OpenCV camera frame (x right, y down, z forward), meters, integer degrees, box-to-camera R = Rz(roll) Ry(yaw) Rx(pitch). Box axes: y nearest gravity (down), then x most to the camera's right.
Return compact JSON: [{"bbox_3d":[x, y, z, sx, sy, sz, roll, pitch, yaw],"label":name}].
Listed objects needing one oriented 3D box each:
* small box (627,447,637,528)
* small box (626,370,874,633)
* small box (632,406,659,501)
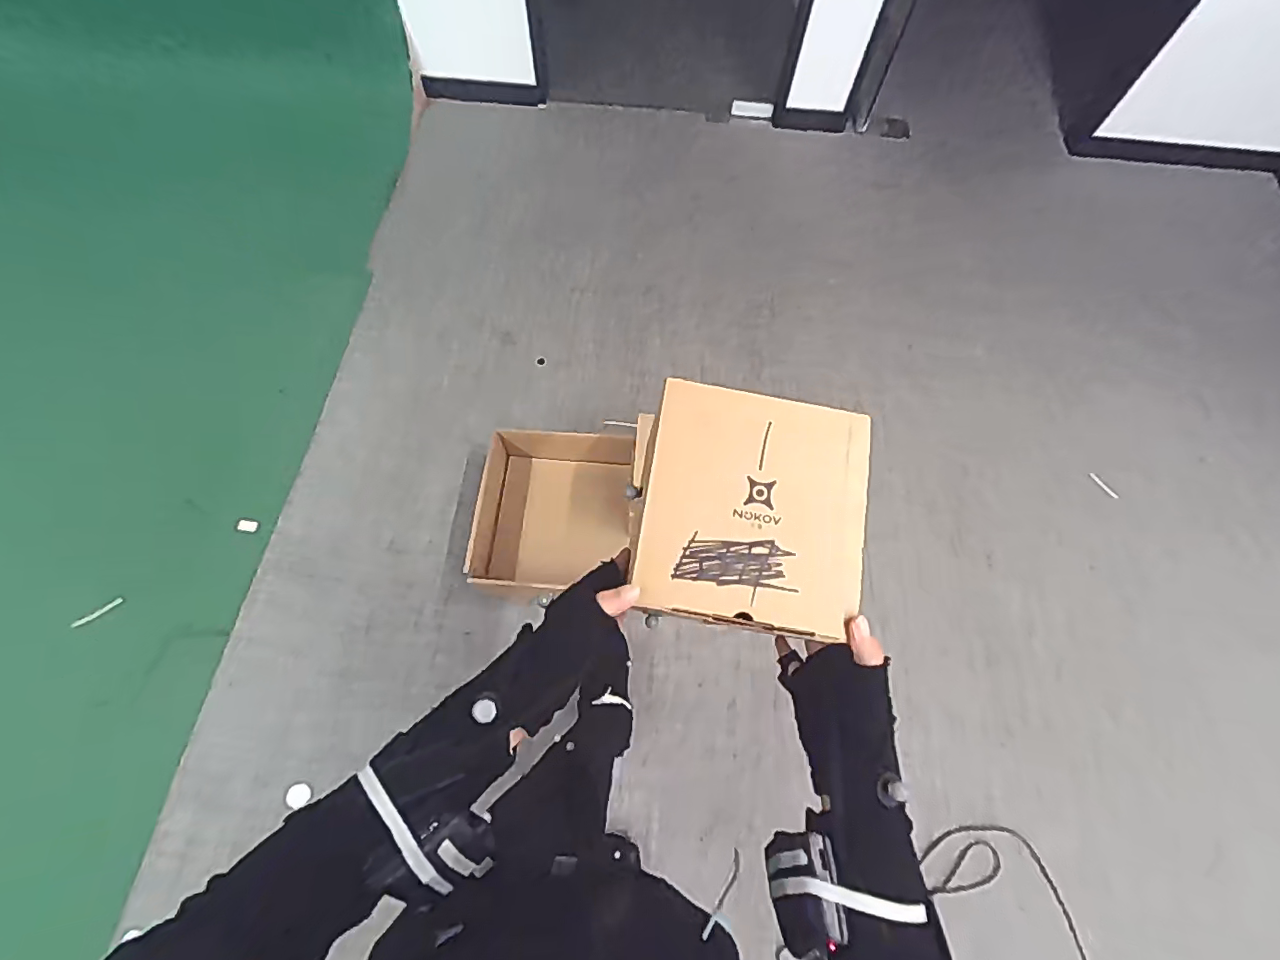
[{"bbox_3d":[0.052,0.031,1.365,0.168,0.176,0.179,0,66,0],"label":"small box"},{"bbox_3d":[0.083,0.030,0.478,0.168,0.176,0.179,11,75,-3],"label":"small box"},{"bbox_3d":[0.071,-0.042,1.199,0.168,0.176,0.179,4,66,0],"label":"small box"}]
